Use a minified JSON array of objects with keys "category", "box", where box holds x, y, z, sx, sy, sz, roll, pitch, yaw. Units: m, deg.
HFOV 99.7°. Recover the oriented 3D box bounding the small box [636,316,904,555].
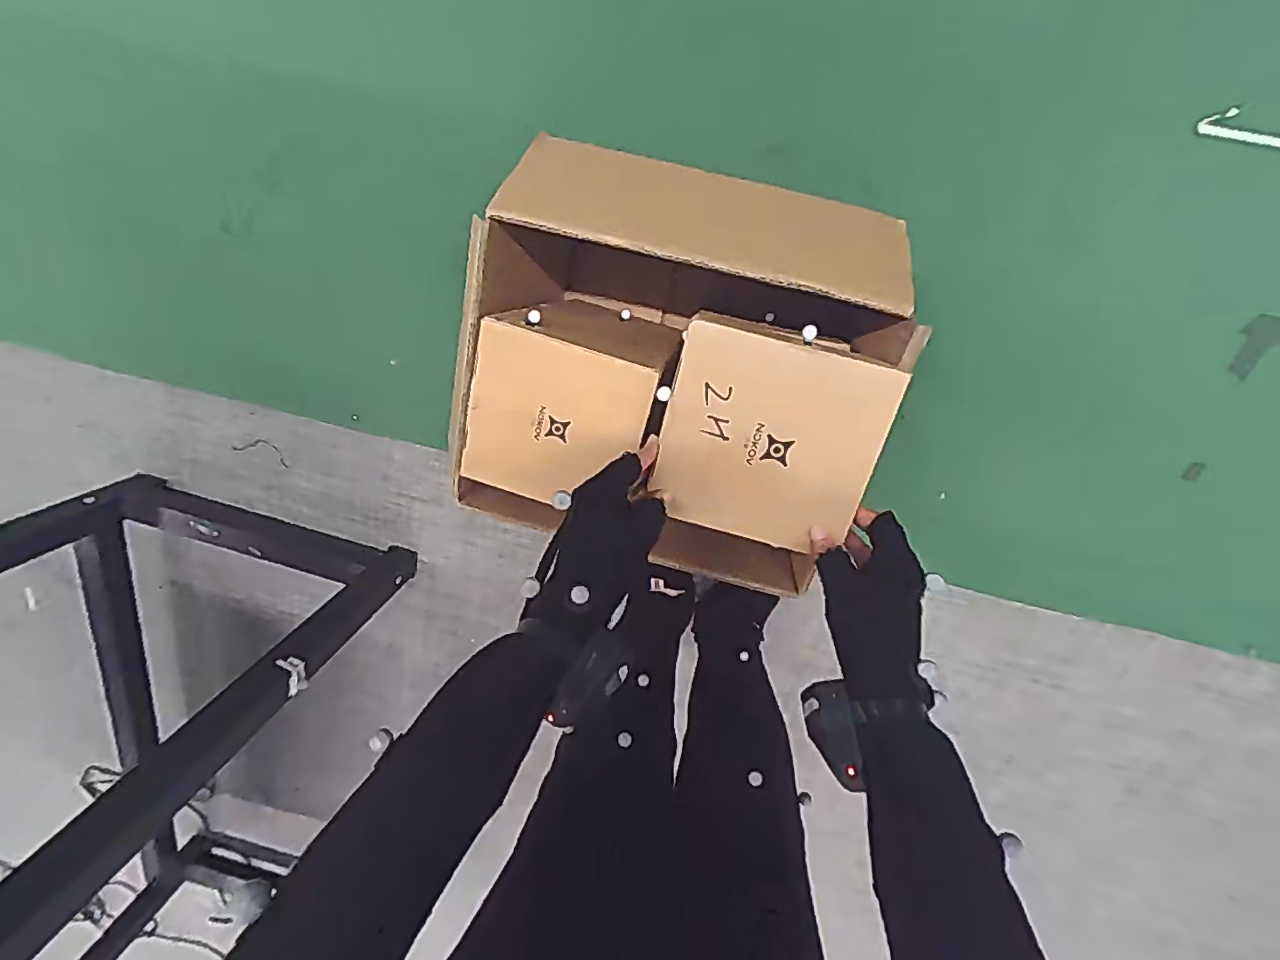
[{"category":"small box","box":[0.108,-0.055,0.513,0.179,0.176,0.168,15,109,2]}]
